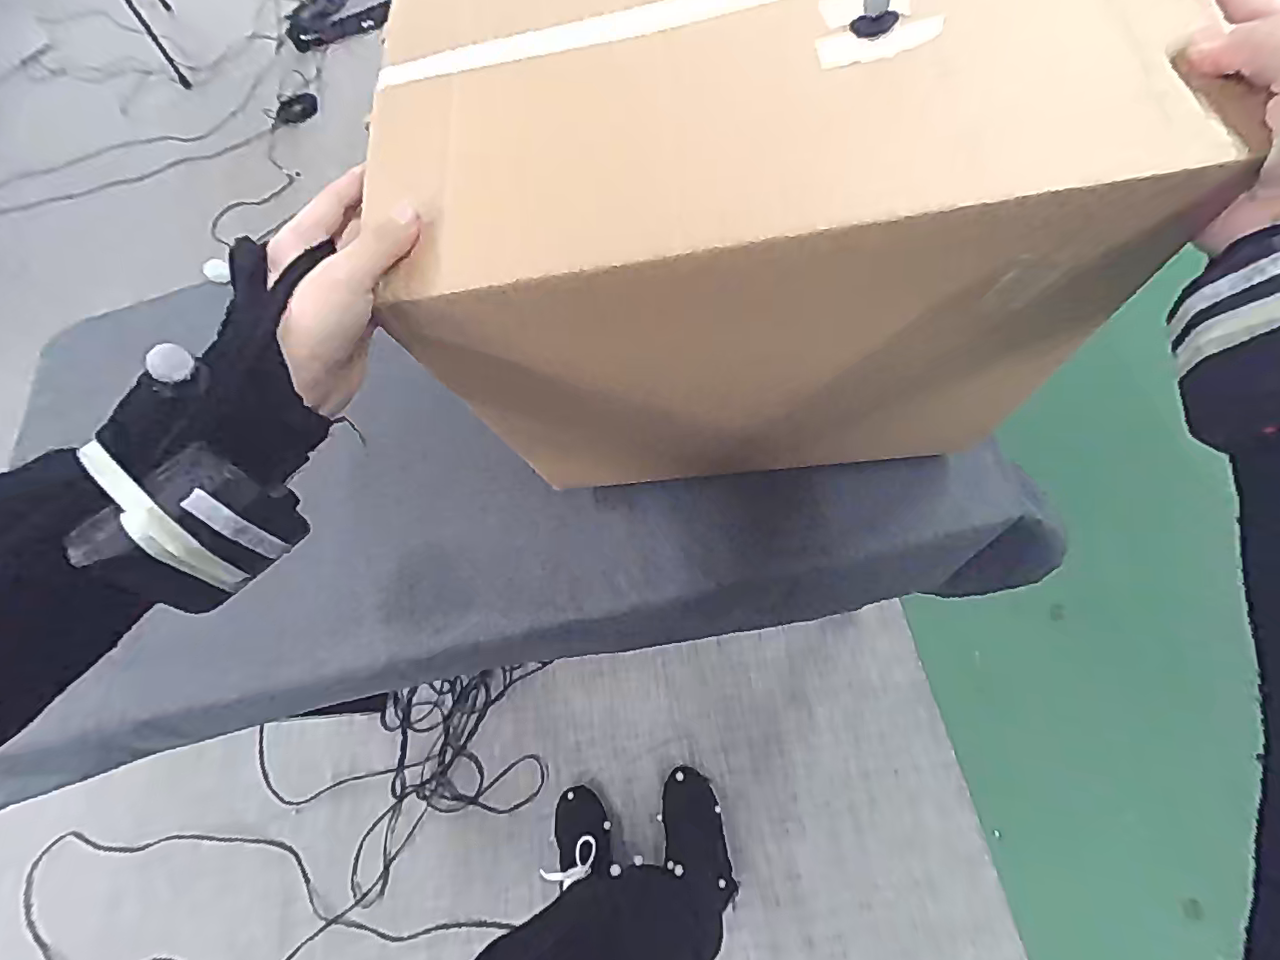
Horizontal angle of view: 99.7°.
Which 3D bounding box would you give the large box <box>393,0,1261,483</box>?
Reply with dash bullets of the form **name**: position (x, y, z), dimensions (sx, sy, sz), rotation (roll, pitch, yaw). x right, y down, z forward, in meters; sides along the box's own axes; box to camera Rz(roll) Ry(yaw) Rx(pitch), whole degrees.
- **large box**: position (0.081, -0.206, 0.440), dimensions (0.408, 0.320, 0.320), rotation (-6, 71, 8)
